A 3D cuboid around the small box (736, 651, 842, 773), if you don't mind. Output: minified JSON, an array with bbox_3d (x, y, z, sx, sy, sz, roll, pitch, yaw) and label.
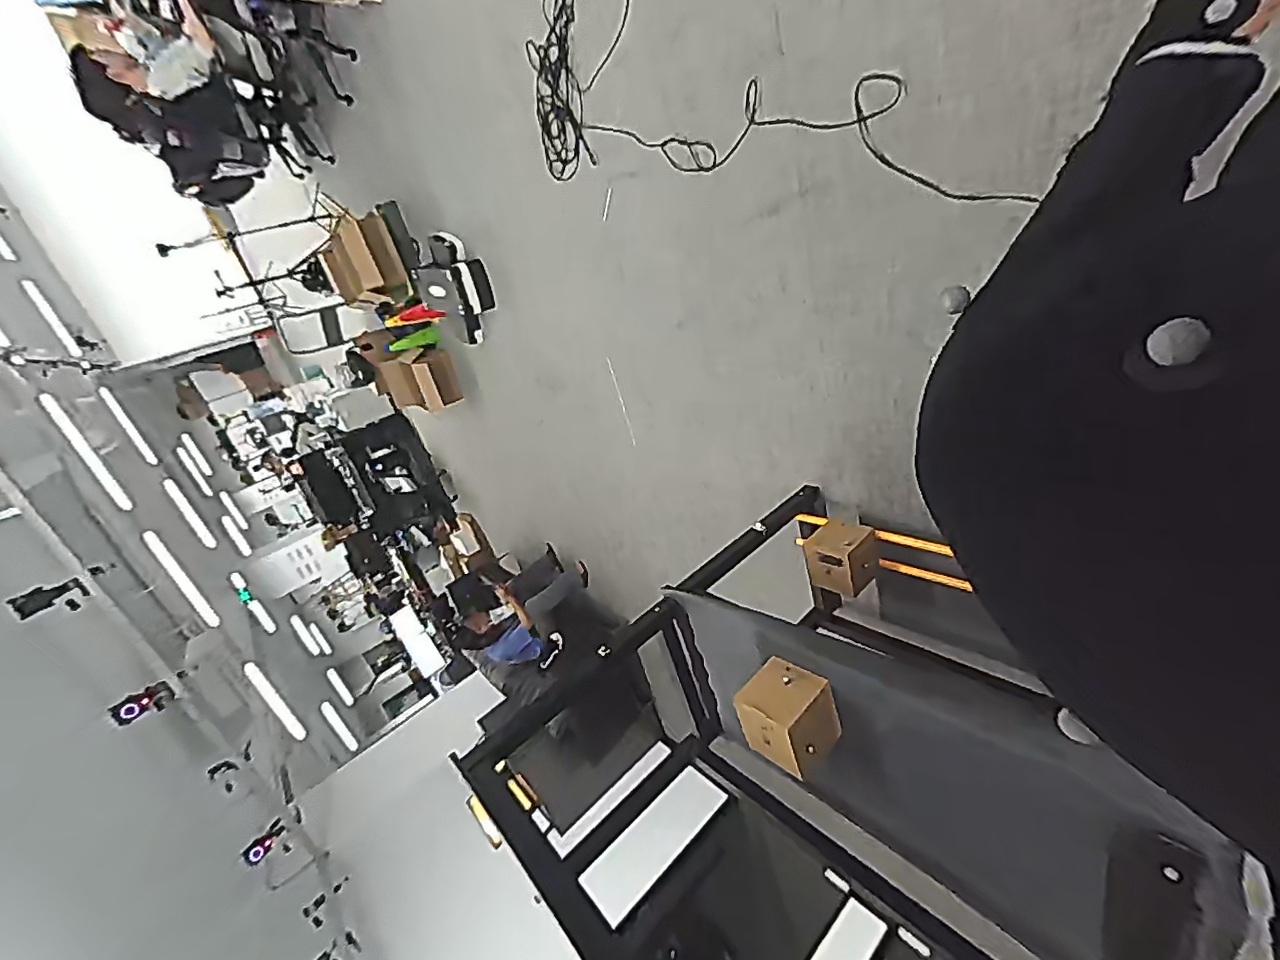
[{"bbox_3d":[0.367,0.554,1.312,0.168,0.176,0.179,10,126,51],"label":"small box"}]
